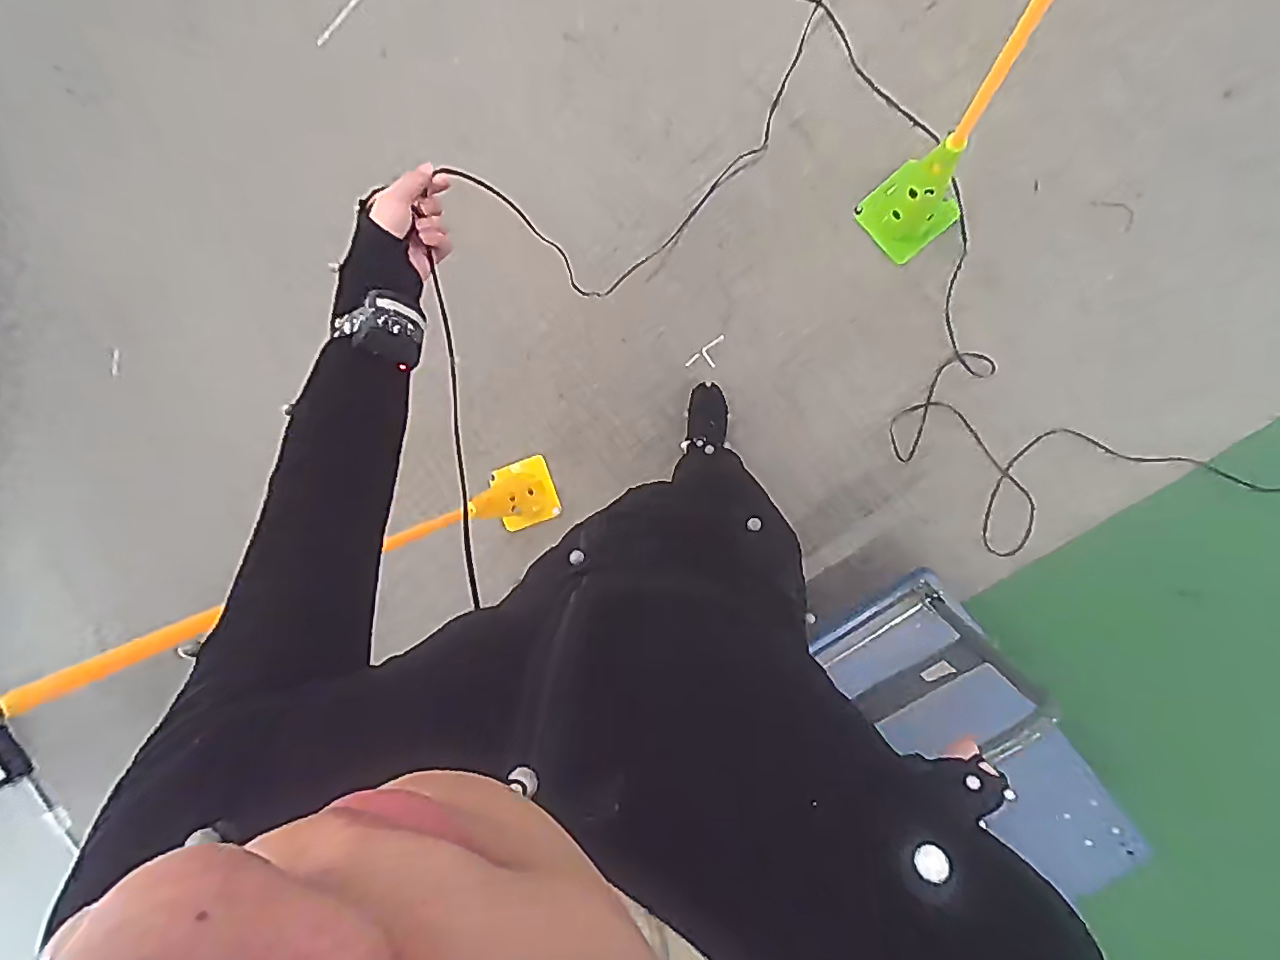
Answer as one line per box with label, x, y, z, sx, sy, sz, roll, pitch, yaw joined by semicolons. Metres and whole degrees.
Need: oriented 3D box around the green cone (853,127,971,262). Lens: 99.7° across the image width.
green cone;0.659;-0.684;1.238;0.202;0.368;0.200;-40;87;11
